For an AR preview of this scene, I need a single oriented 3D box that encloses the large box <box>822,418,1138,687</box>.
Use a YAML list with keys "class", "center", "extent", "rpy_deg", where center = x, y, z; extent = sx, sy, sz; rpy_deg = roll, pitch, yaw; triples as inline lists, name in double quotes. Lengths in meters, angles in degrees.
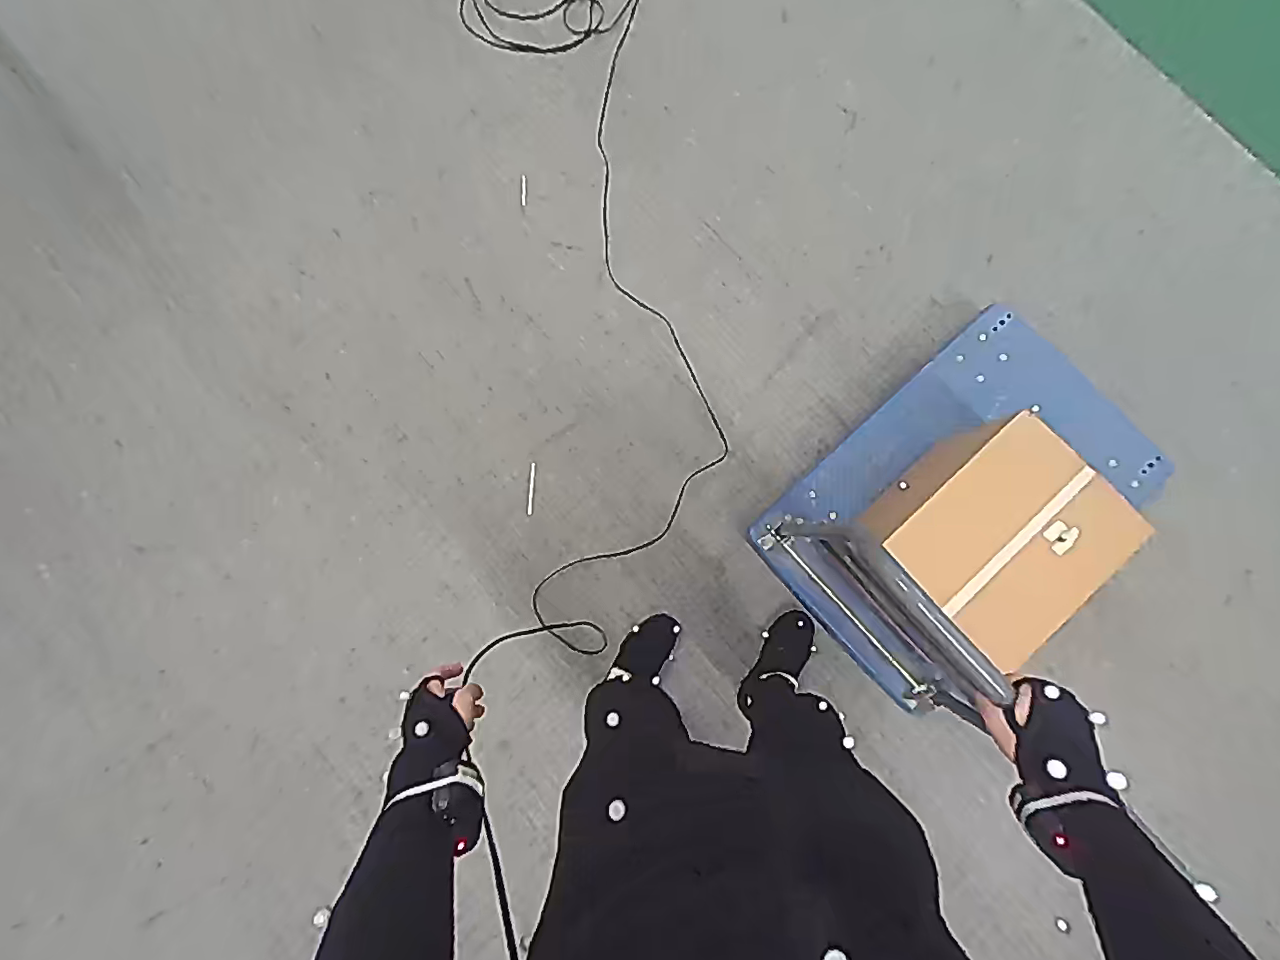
- class: "large box"
  center: [0.664, 0.147, 1.130]
  extent: [0.408, 0.320, 0.320]
  rpy_deg: [-42, 84, -5]
